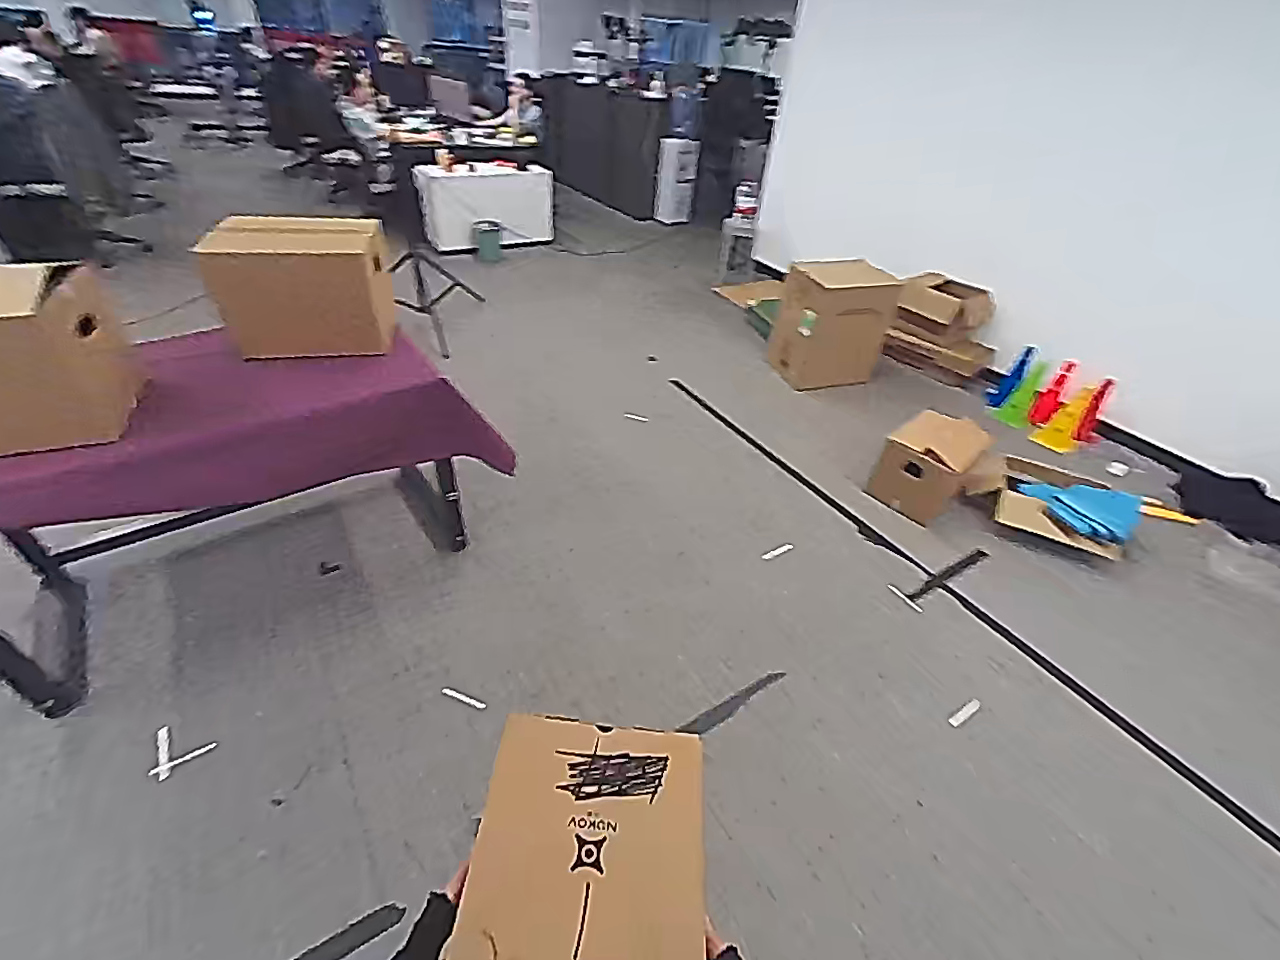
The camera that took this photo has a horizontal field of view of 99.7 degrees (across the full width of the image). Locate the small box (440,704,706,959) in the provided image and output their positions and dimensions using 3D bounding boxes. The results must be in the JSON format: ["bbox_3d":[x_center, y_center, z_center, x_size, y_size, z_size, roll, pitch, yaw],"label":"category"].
[{"bbox_3d":[-0.046,0.313,0.437,0.168,0.176,0.179,7,38,-2],"label":"small box"}]
